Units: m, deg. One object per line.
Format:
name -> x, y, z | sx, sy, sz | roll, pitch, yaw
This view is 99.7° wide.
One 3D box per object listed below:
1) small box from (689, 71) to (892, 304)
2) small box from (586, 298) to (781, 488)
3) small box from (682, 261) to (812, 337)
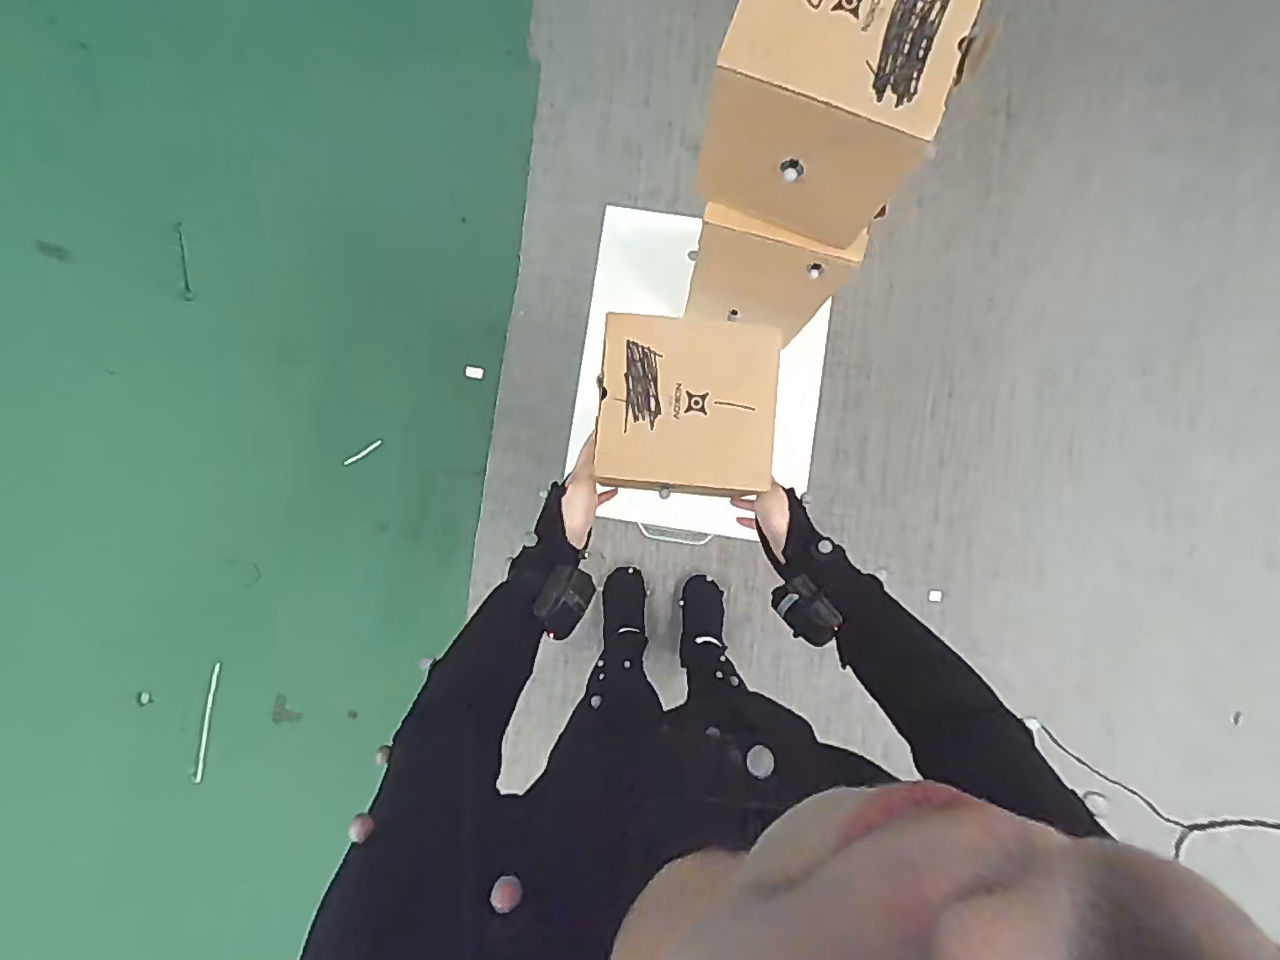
small box -> 0.164, -0.332, 0.650 | 0.179, 0.176, 0.168 | 15, 87, 0
small box -> 0.040, -0.082, 0.597 | 0.179, 0.176, 0.168 | 6, 87, -2
small box -> 0.168, -0.327, 0.812 | 0.179, 0.176, 0.168 | 16, 88, 1
